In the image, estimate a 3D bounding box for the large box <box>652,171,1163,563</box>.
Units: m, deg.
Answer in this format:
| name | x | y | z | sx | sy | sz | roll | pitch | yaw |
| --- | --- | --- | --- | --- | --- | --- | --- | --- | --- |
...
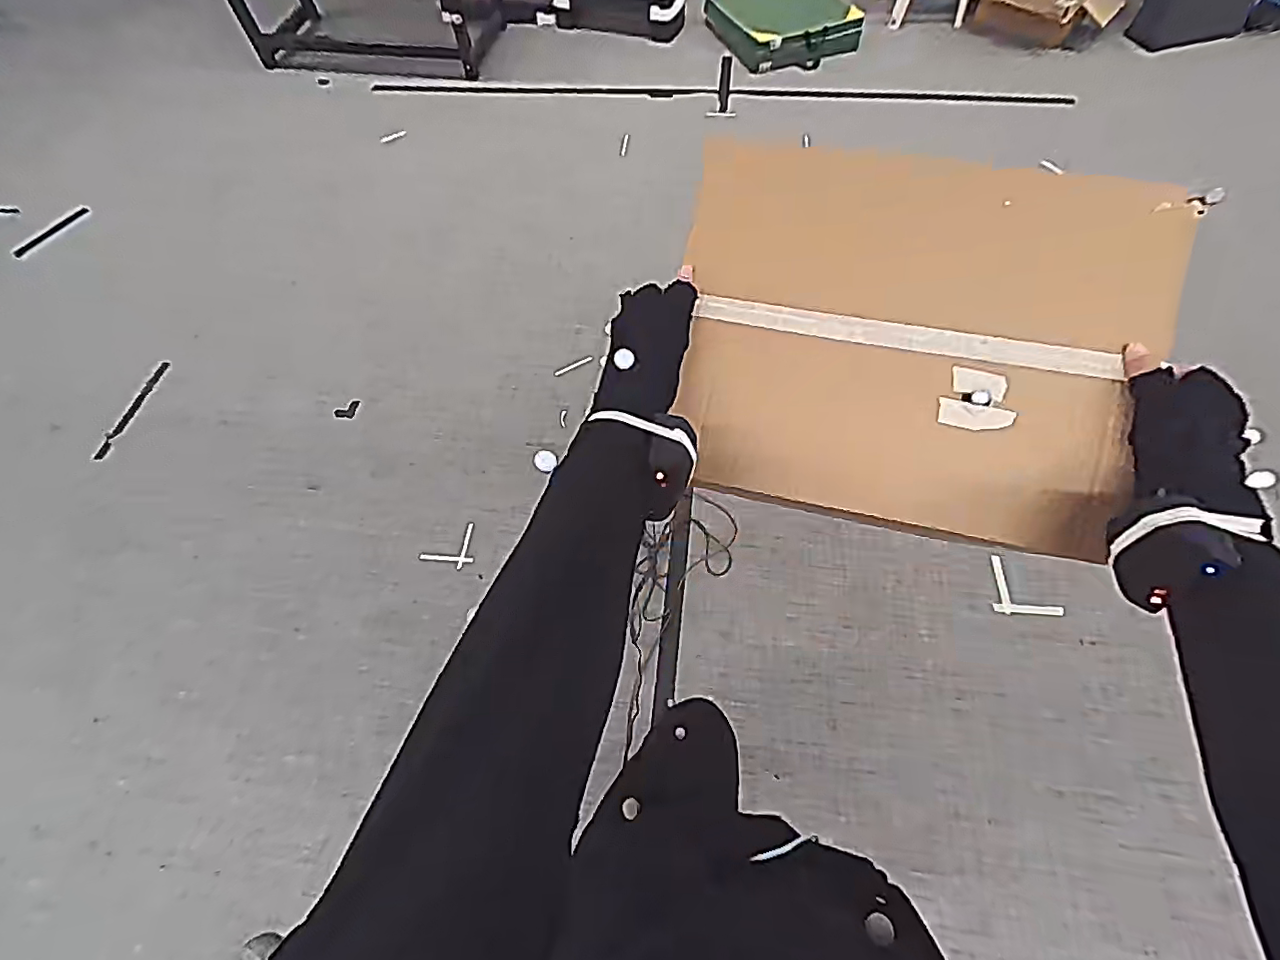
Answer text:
| name | x | y | z | sx | sy | sz | roll | pitch | yaw |
| --- | --- | --- | --- | --- | --- | --- | --- | --- | --- |
| large box | 0.248 | -0.107 | 0.635 | 0.408 | 0.320 | 0.320 | 11 | 91 | 8 |
